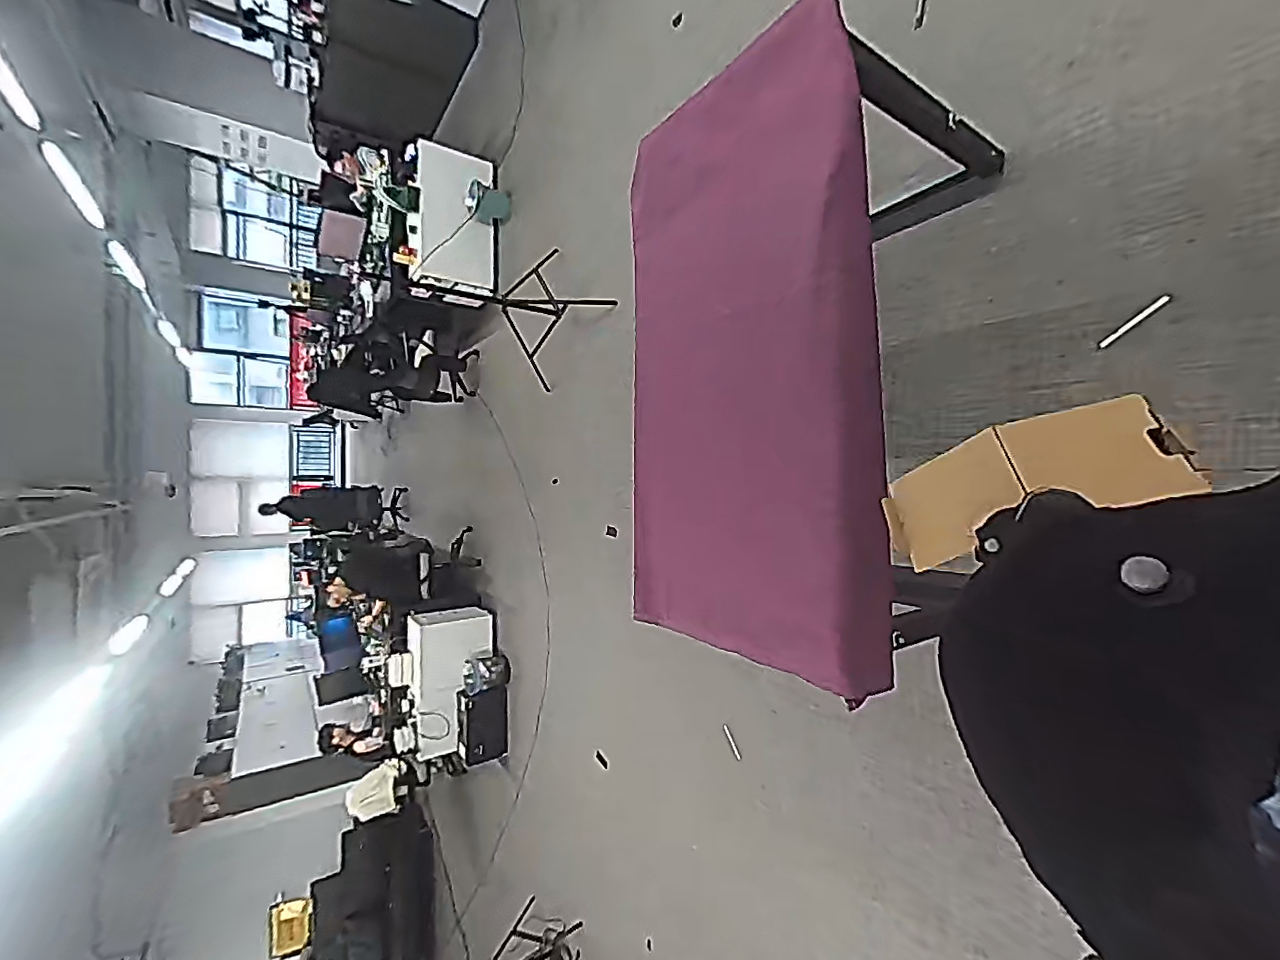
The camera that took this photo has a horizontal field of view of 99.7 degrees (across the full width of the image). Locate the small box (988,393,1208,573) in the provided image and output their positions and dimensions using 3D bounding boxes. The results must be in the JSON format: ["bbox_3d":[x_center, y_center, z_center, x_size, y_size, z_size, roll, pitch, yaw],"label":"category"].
[{"bbox_3d":[0.604,0.014,0.747,0.179,0.176,0.168,-13,51,20],"label":"small box"}]
